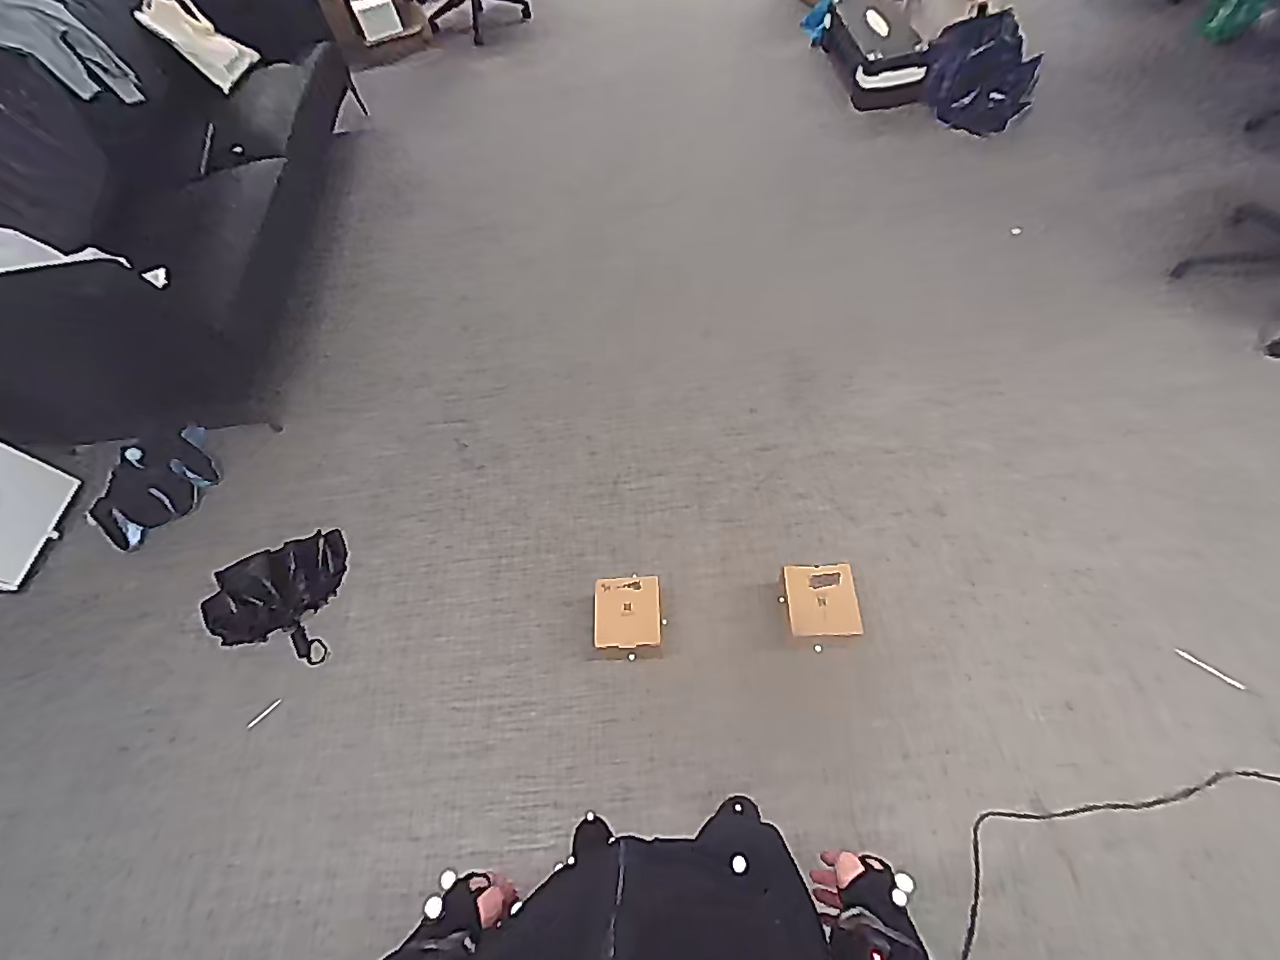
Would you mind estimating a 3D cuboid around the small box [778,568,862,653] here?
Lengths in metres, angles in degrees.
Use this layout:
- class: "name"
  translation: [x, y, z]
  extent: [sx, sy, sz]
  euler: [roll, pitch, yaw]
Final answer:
- class: "small box"
  translation: [0.454, 0.338, 1.390]
  extent: [0.168, 0.176, 0.179]
  euler: [-4, 62, 7]

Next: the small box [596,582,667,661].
- class: "small box"
  translation: [-0.018, 0.382, 1.438]
  extent: [0.168, 0.176, 0.179]
  euler: [-4, 61, 6]
